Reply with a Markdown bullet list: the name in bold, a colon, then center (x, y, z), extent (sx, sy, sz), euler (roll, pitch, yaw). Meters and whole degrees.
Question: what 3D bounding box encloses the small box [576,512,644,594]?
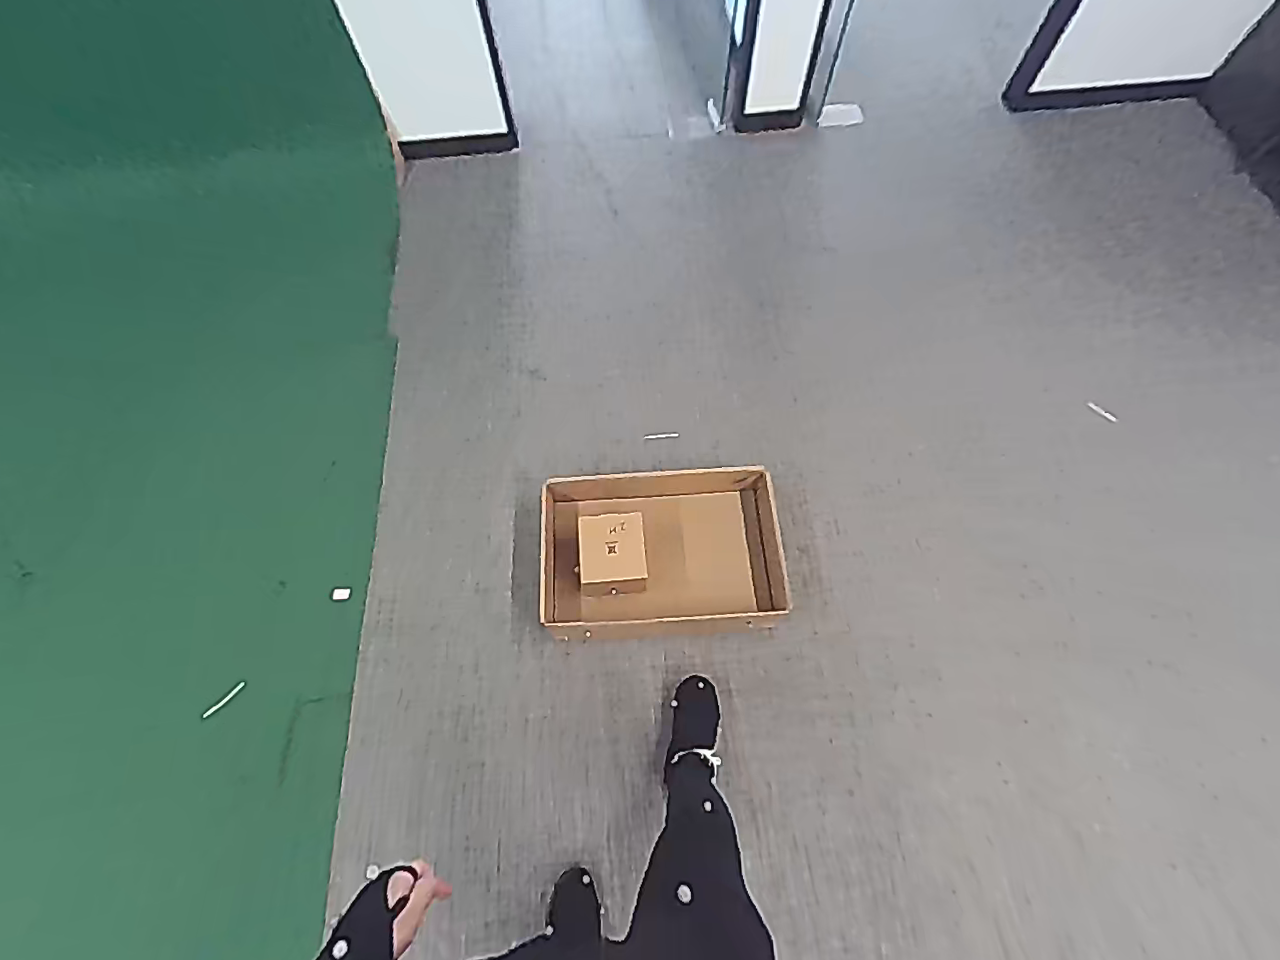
- **small box**: center (-0.077, 0.198, 1.419), extent (0.168, 0.176, 0.179), euler (-4, 66, -2)
